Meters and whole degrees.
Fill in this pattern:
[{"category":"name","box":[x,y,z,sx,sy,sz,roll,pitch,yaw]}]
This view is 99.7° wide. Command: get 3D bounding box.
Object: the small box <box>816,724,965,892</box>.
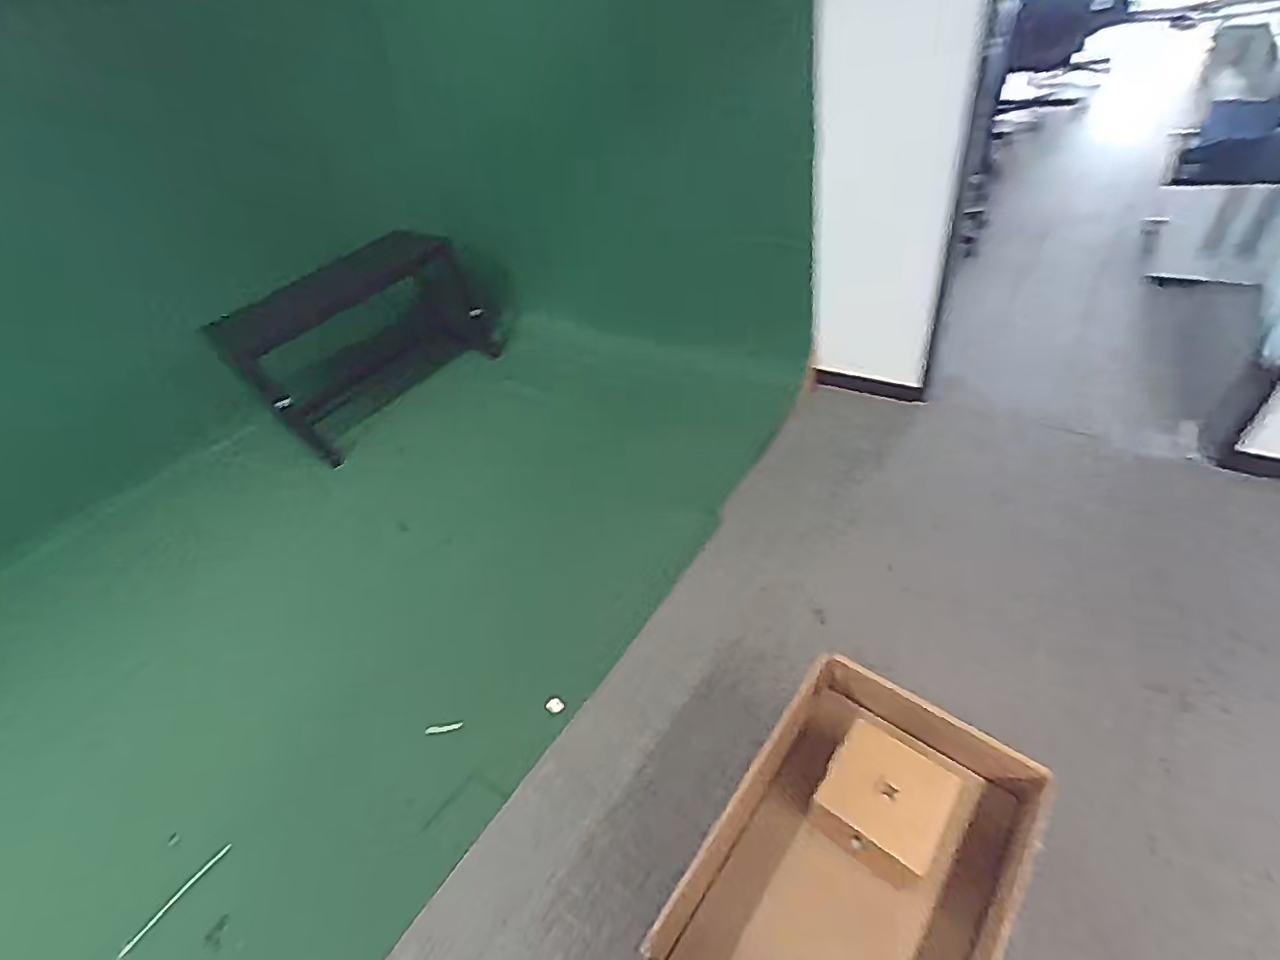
[{"category":"small box","box":[0.421,0.564,0.928,0.179,0.176,0.168,24,57,35]}]
